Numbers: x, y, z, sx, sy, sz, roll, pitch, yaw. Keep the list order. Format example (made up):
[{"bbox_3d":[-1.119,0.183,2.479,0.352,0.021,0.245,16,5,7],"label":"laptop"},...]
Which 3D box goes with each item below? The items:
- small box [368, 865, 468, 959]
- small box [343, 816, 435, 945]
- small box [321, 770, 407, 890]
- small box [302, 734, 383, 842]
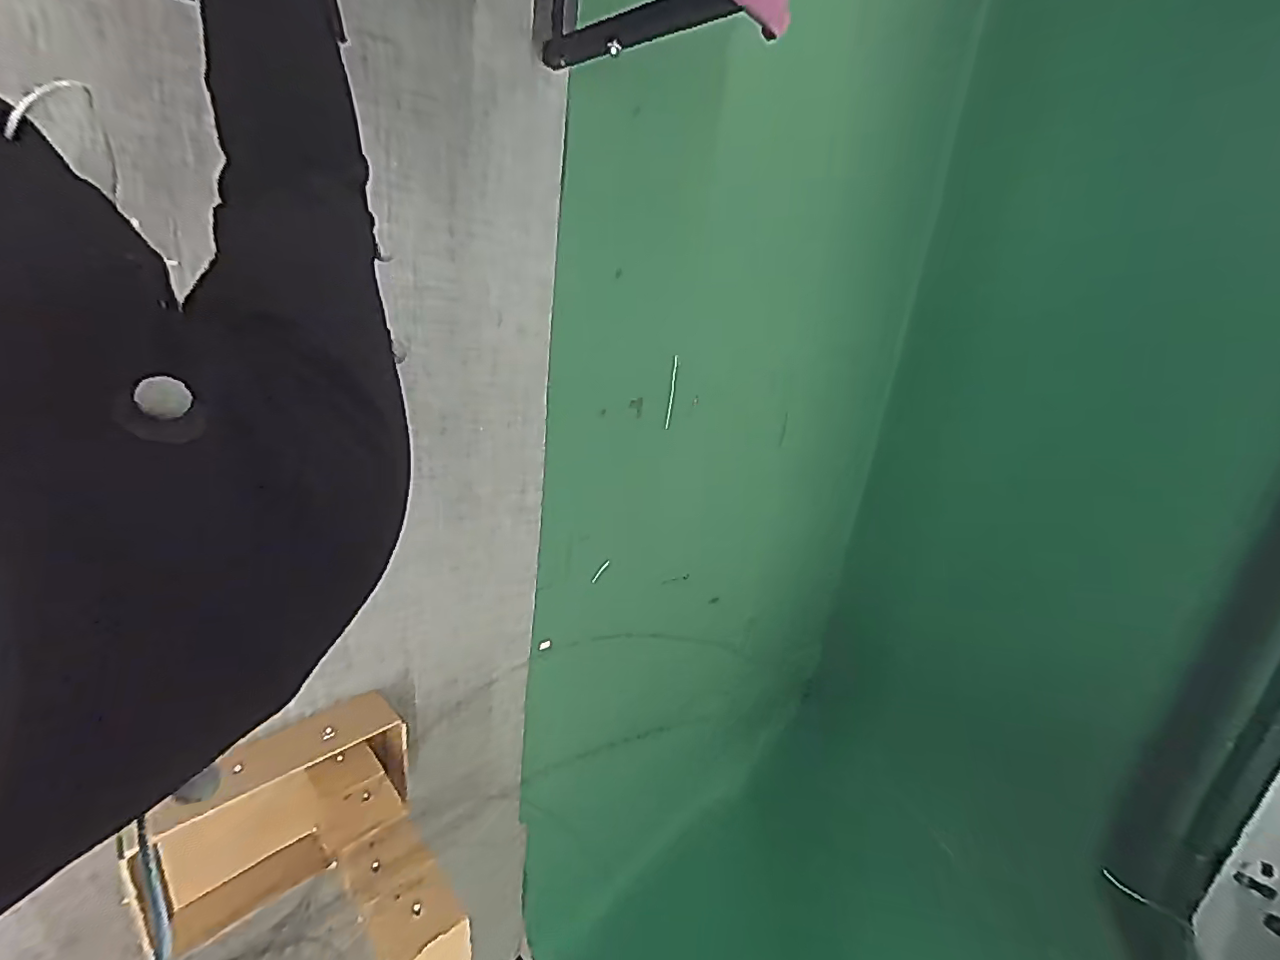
[{"bbox_3d":[-0.519,1.052,1.263,0.168,0.176,0.179,-14,118,-42],"label":"small box"},{"bbox_3d":[-0.632,0.997,1.368,0.168,0.176,0.179,-15,119,-42],"label":"small box"},{"bbox_3d":[-0.748,0.940,1.468,0.168,0.176,0.179,-13,118,-44],"label":"small box"},{"bbox_3d":[-0.862,0.886,1.571,0.168,0.176,0.179,-12,117,-45],"label":"small box"}]
